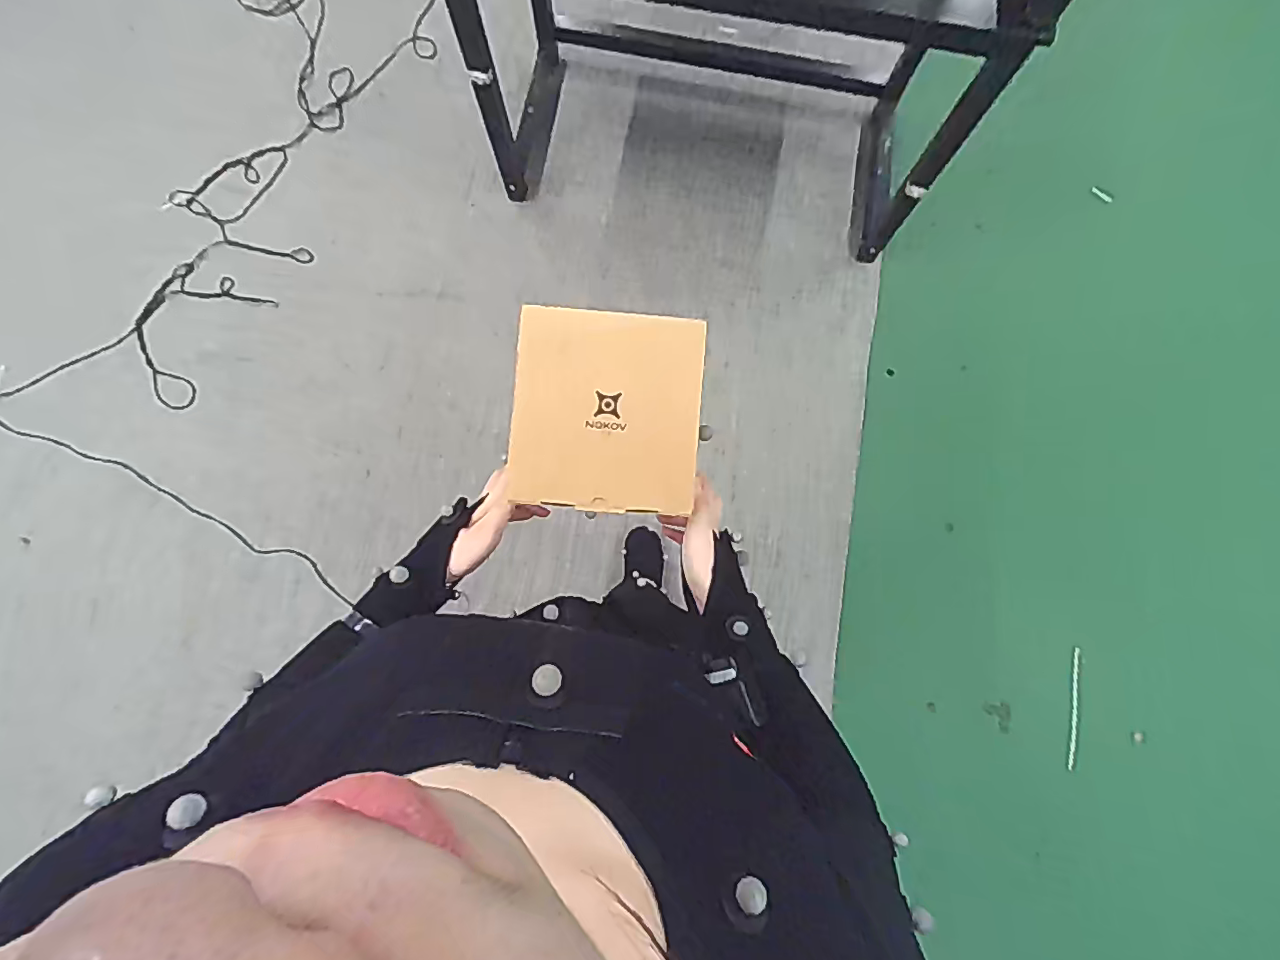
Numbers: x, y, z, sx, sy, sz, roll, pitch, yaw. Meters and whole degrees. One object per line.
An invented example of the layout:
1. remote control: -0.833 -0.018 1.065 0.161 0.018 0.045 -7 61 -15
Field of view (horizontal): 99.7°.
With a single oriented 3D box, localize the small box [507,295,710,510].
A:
1. small box: -0.030 -0.064 0.543 0.168 0.176 0.179 4 89 -2
